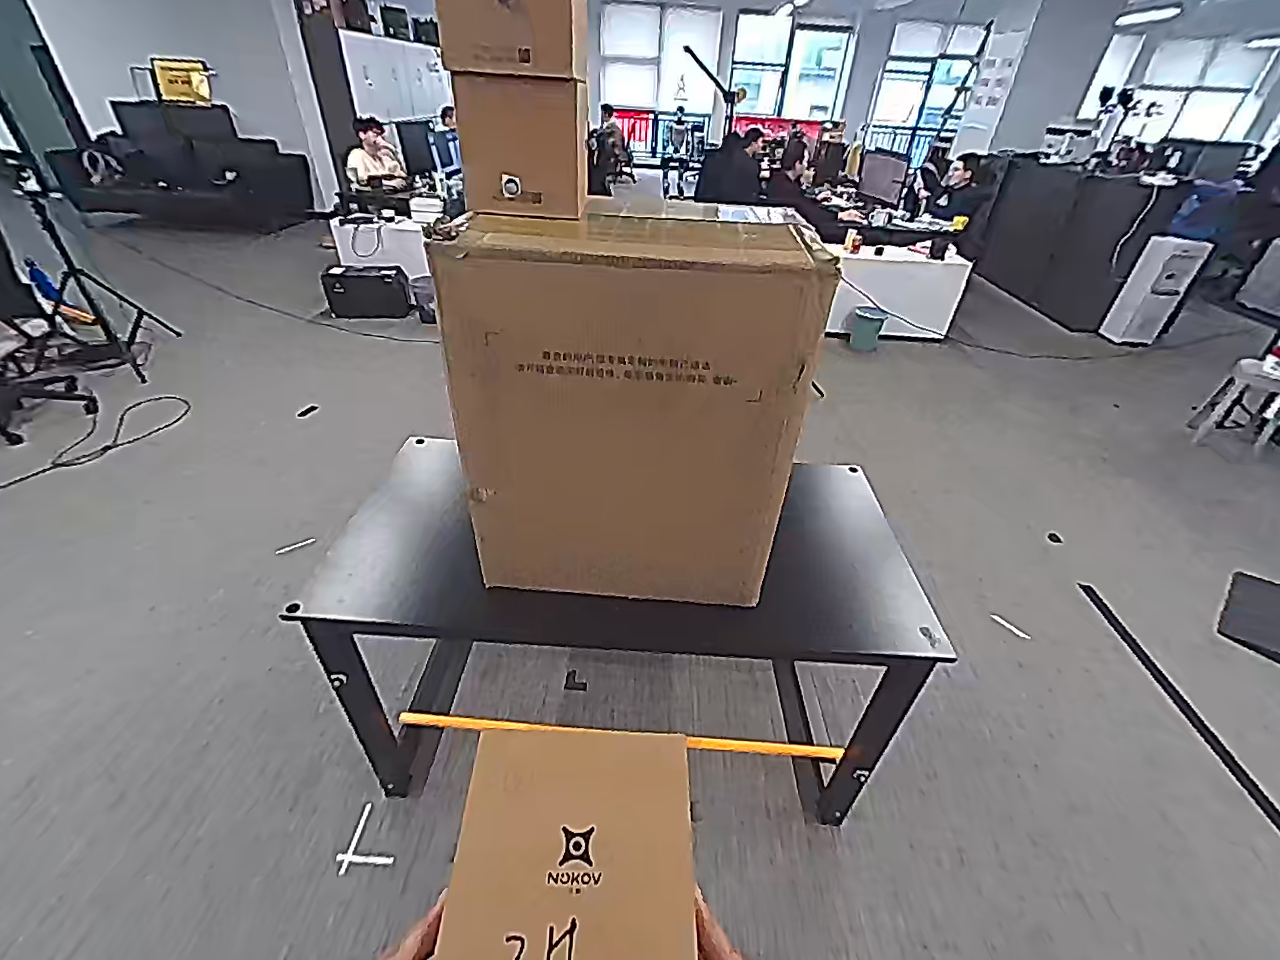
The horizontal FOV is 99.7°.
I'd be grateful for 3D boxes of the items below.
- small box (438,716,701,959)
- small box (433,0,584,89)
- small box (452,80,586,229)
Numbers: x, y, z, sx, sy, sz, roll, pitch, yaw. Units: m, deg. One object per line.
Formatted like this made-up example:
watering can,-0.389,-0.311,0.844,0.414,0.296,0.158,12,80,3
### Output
small box,-0.046,0.314,0.434,0.168,0.176,0.179,2,44,-1
small box,-0.163,-0.613,0.704,0.168,0.176,0.179,2,35,-1
small box,-0.168,-0.488,0.811,0.168,0.176,0.179,1,36,-2
